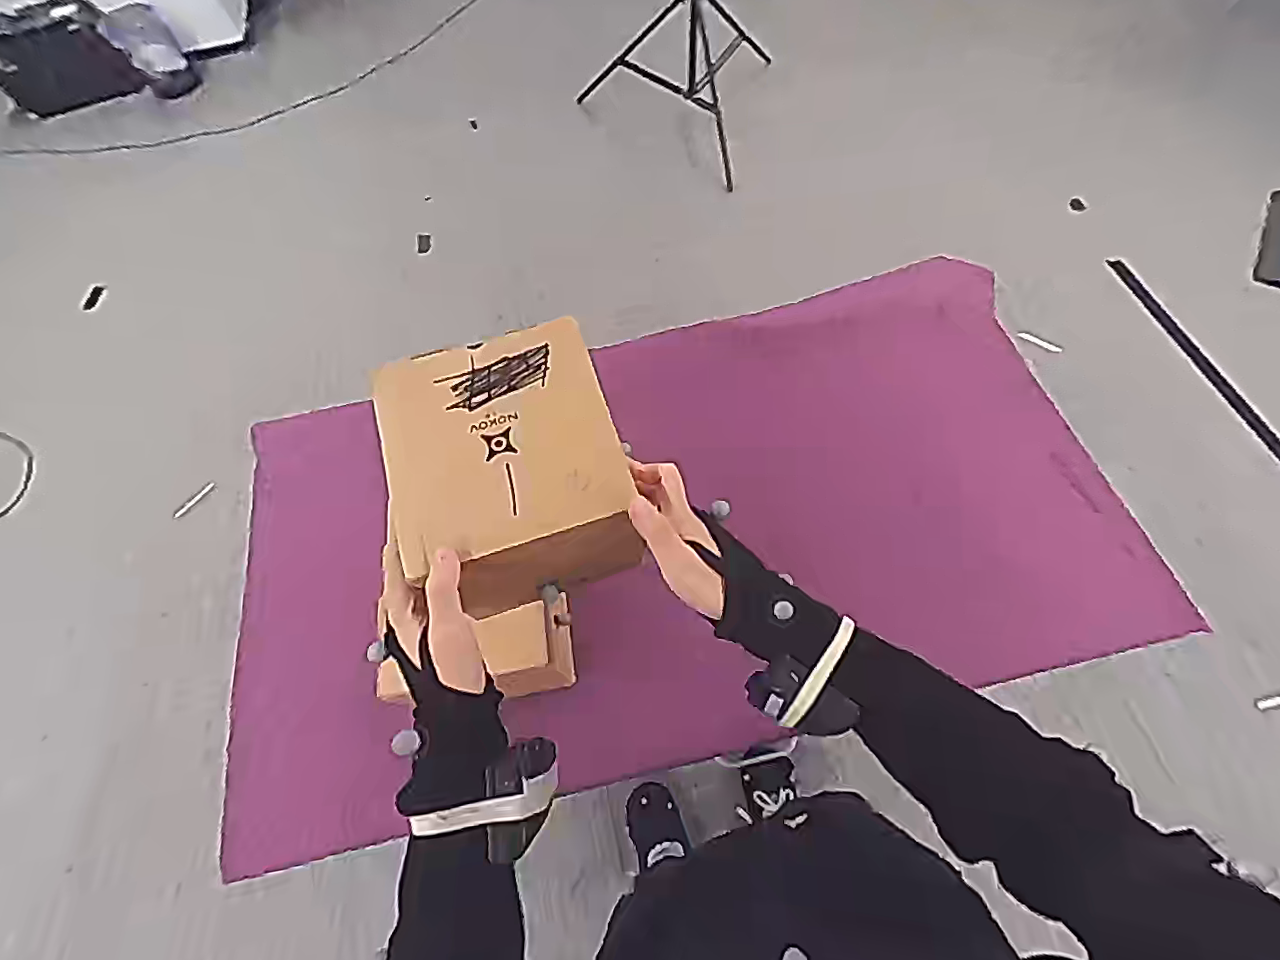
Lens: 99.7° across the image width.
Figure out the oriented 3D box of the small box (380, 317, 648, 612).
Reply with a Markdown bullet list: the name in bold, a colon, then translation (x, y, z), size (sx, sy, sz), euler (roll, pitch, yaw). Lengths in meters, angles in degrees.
- **small box**: translation (-0.098, -0.003, 0.466), size (0.168, 0.176, 0.179), euler (-17, 69, -7)

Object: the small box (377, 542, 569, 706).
- **small box**: translation (-0.187, 0.166, 0.648), size (0.179, 0.176, 0.168), euler (-11, 64, -1)
